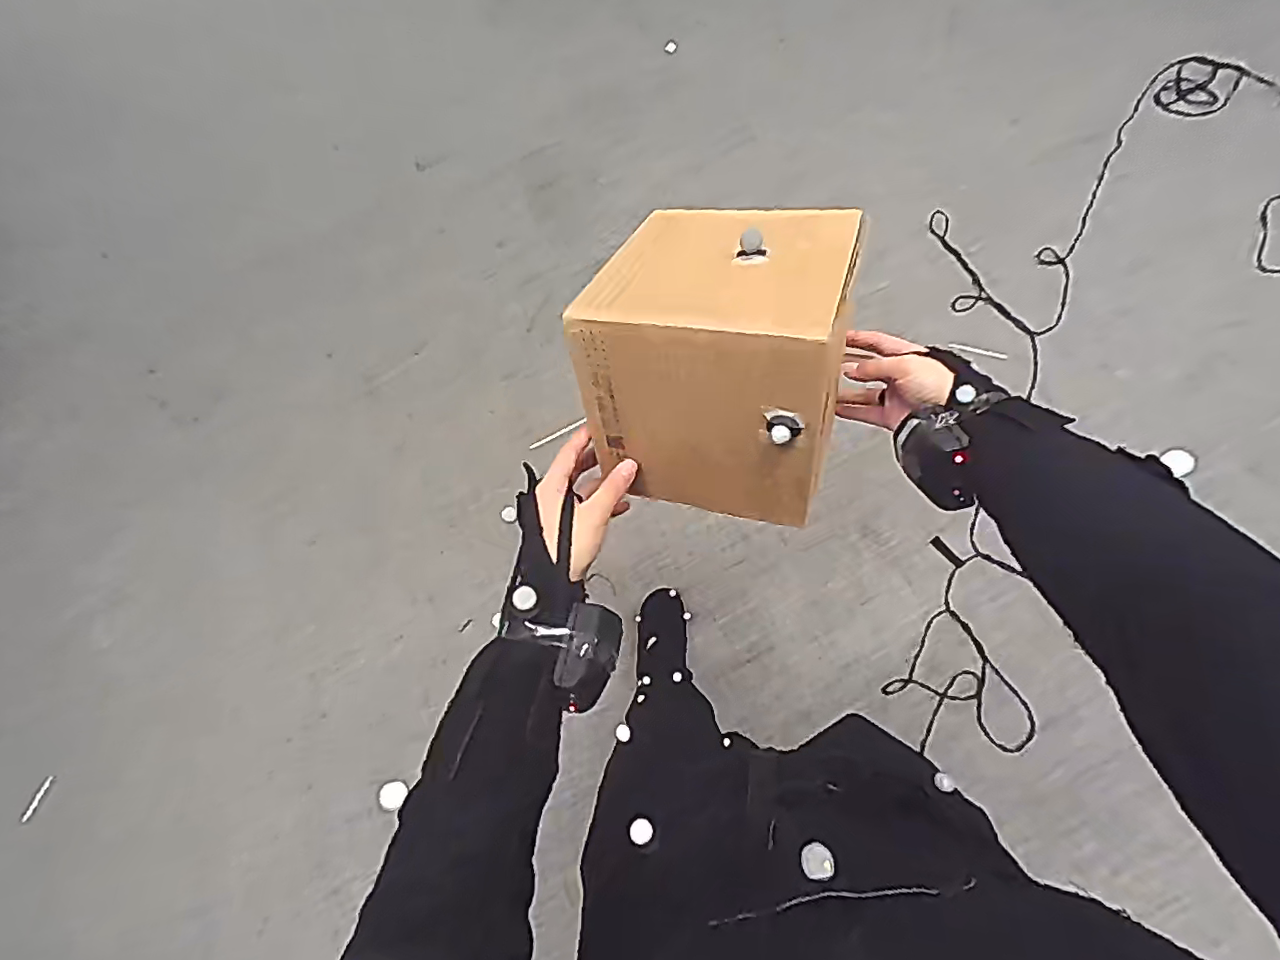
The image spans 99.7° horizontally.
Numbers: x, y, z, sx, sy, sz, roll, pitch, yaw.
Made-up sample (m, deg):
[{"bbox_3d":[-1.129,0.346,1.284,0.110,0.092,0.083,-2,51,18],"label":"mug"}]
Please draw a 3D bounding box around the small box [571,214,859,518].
[{"bbox_3d":[0.065,-0.100,0.435,0.176,0.168,0.179,11,49,20],"label":"small box"}]
